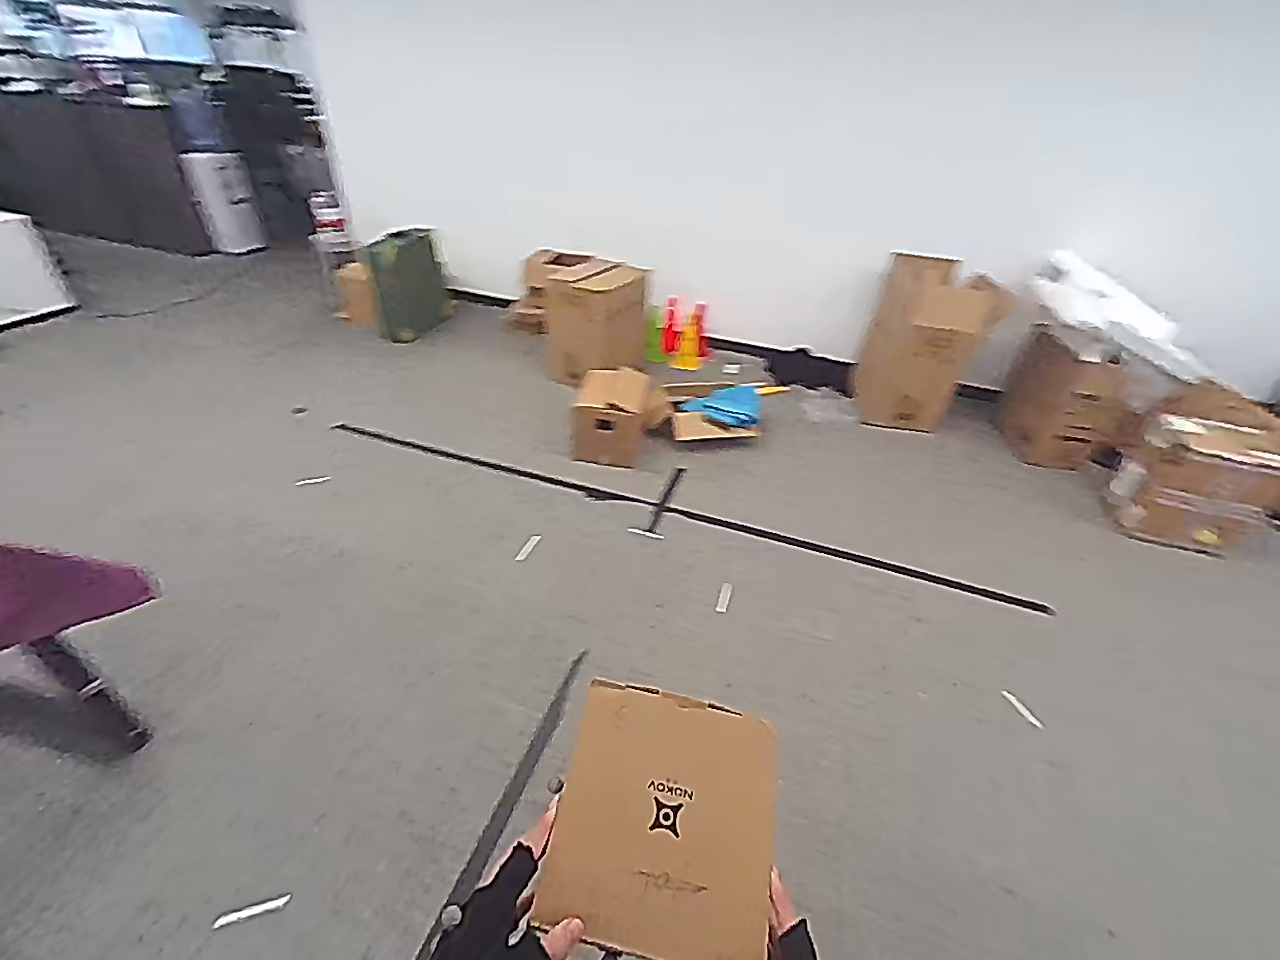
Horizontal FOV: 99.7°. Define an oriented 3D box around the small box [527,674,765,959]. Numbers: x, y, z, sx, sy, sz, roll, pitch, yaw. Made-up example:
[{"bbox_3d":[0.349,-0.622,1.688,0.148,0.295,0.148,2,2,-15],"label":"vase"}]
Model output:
[{"bbox_3d":[0.006,0.301,0.478,0.168,0.176,0.179,11,49,2],"label":"small box"}]
